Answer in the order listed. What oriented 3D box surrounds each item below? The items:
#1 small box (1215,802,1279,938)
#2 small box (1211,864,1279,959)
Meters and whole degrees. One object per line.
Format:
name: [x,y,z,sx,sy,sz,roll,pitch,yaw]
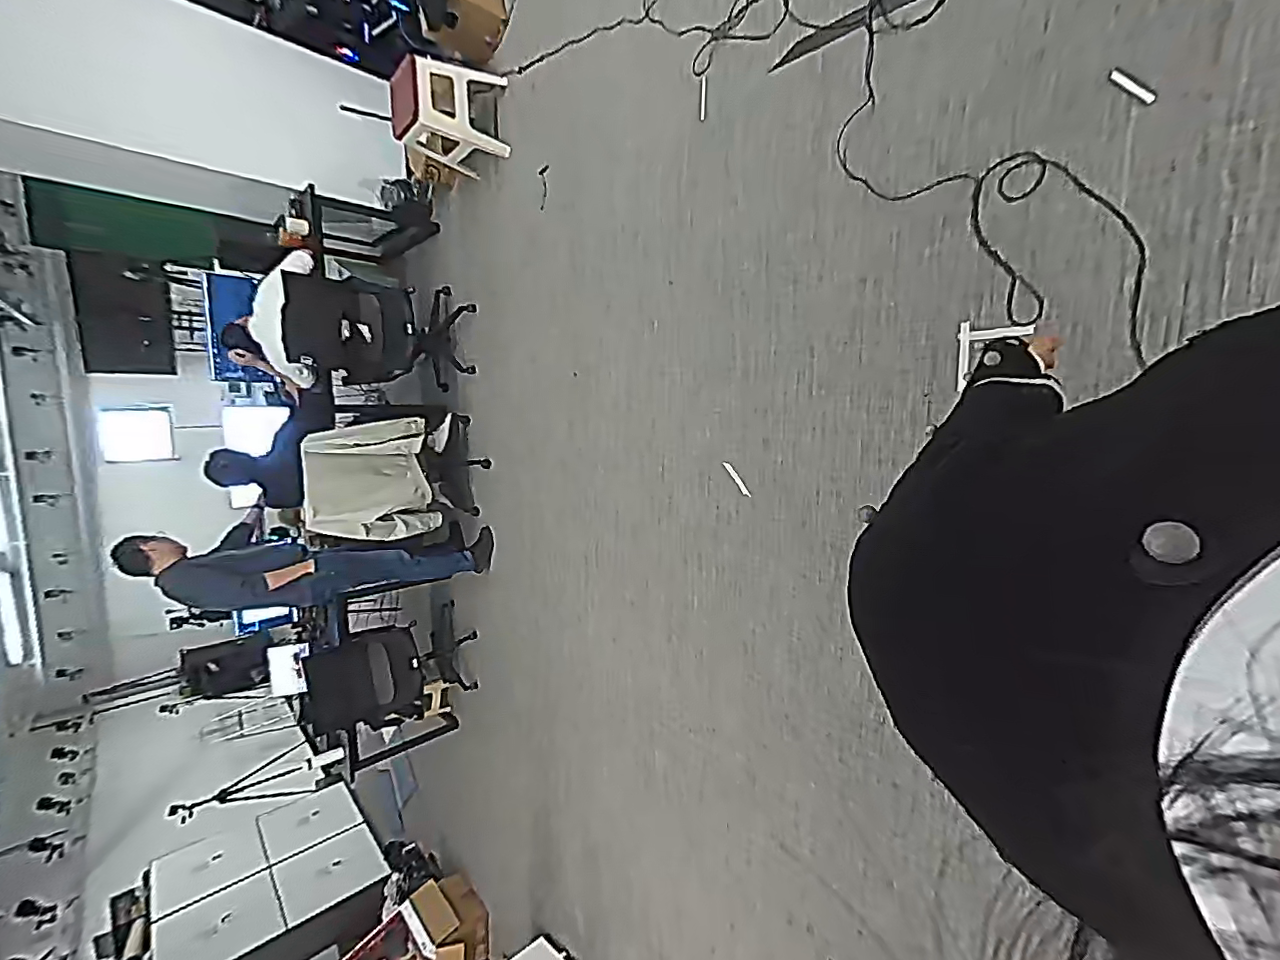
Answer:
small box: [0.807,0.532,0.636,0.168,0.176,0.179,7,99,46]
small box: [0.684,0.533,0.527,0.168,0.176,0.179,9,100,46]
